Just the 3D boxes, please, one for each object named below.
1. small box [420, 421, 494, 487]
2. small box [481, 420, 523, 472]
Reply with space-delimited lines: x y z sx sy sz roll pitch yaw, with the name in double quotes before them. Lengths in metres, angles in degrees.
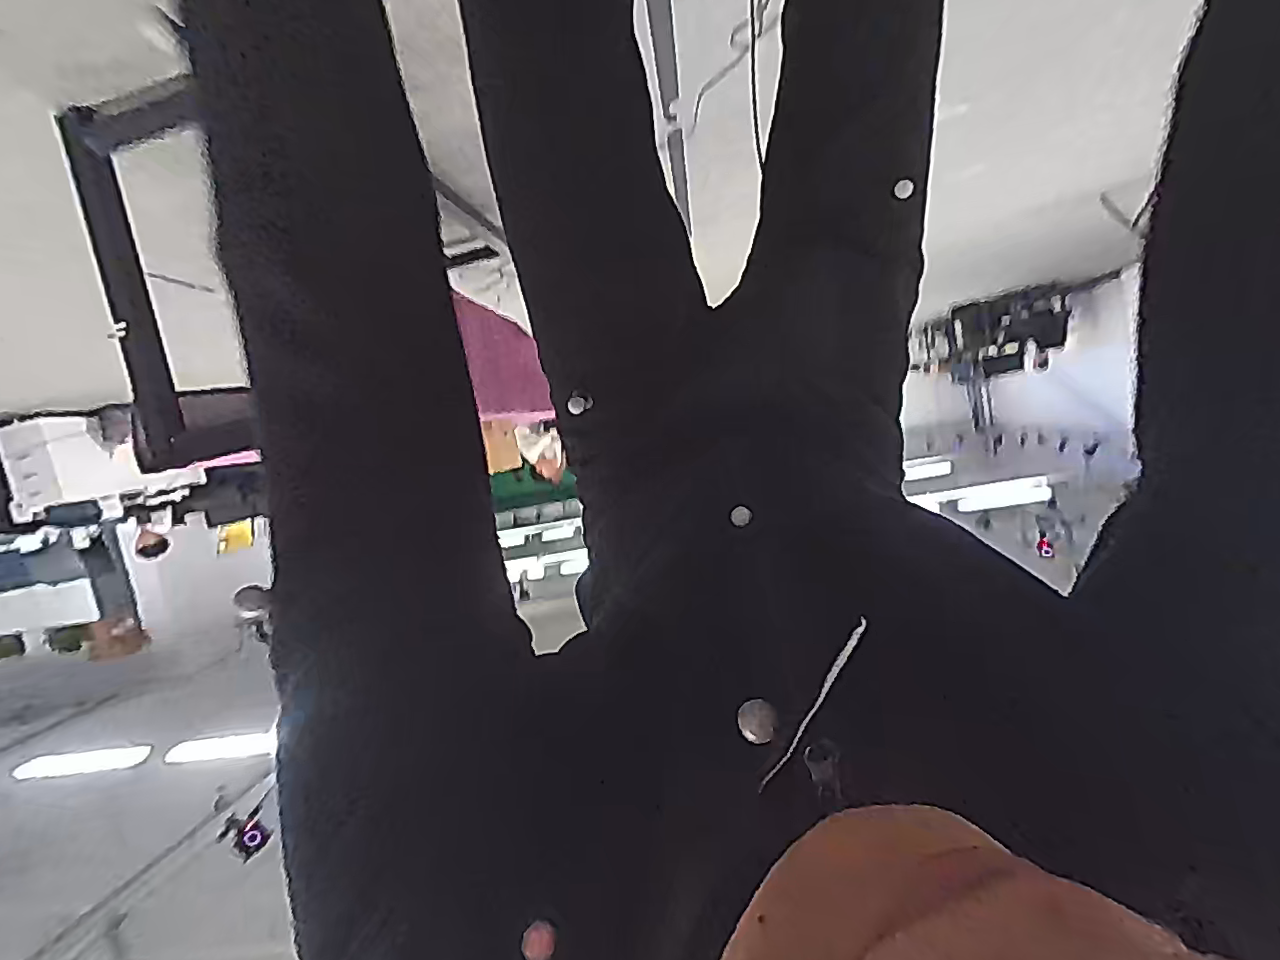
"small box" -0.562 -0.075 1.587 0.179 0.176 0.168 -9 -173 20
"small box" -0.536 -0.113 1.890 0.179 0.176 0.168 -11 -174 14
